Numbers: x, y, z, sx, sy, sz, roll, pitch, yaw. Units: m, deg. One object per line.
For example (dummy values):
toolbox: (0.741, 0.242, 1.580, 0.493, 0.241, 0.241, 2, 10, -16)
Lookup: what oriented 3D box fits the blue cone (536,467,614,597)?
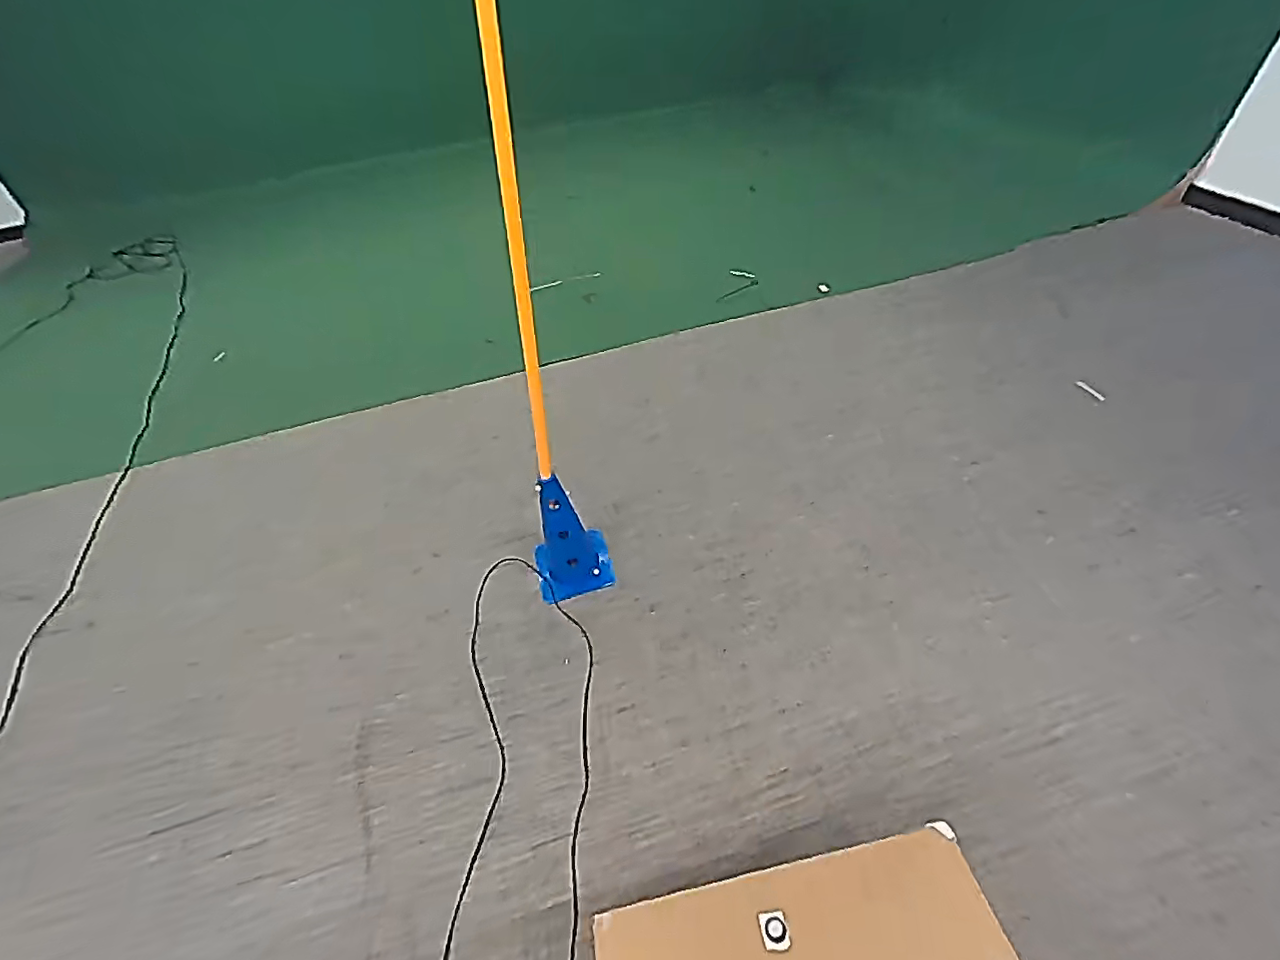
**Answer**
blue cone: (-0.192, 0.103, 1.343, 0.193, 0.380, 0.192, -17, 48, -10)
